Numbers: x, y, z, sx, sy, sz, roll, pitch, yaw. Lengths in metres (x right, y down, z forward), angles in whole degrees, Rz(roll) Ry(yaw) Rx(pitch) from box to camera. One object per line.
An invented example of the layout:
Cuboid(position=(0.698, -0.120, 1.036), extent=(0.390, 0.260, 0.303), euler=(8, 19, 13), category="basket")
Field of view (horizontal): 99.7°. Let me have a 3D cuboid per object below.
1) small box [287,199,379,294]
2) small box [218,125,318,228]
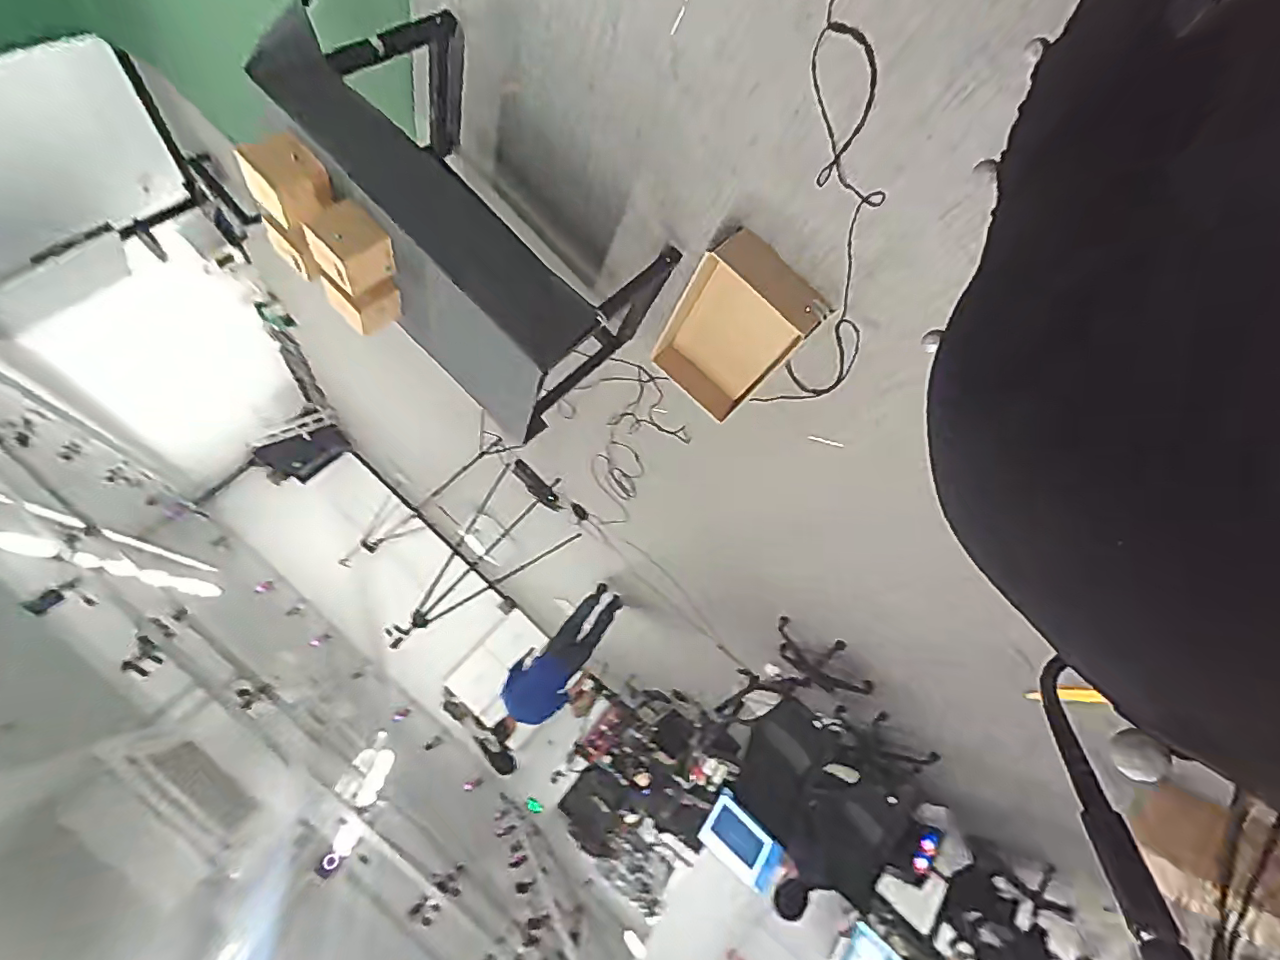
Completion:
Cuboid(position=(-0.919, -0.712, 1.645), extent=(0.179, 0.176, 0.168), euler=(44, 154, 0), category="small box")
Cuboid(position=(-1.095, -0.903, 1.612), extent=(0.168, 0.176, 0.179), euler=(46, 153, -6), category="small box")
